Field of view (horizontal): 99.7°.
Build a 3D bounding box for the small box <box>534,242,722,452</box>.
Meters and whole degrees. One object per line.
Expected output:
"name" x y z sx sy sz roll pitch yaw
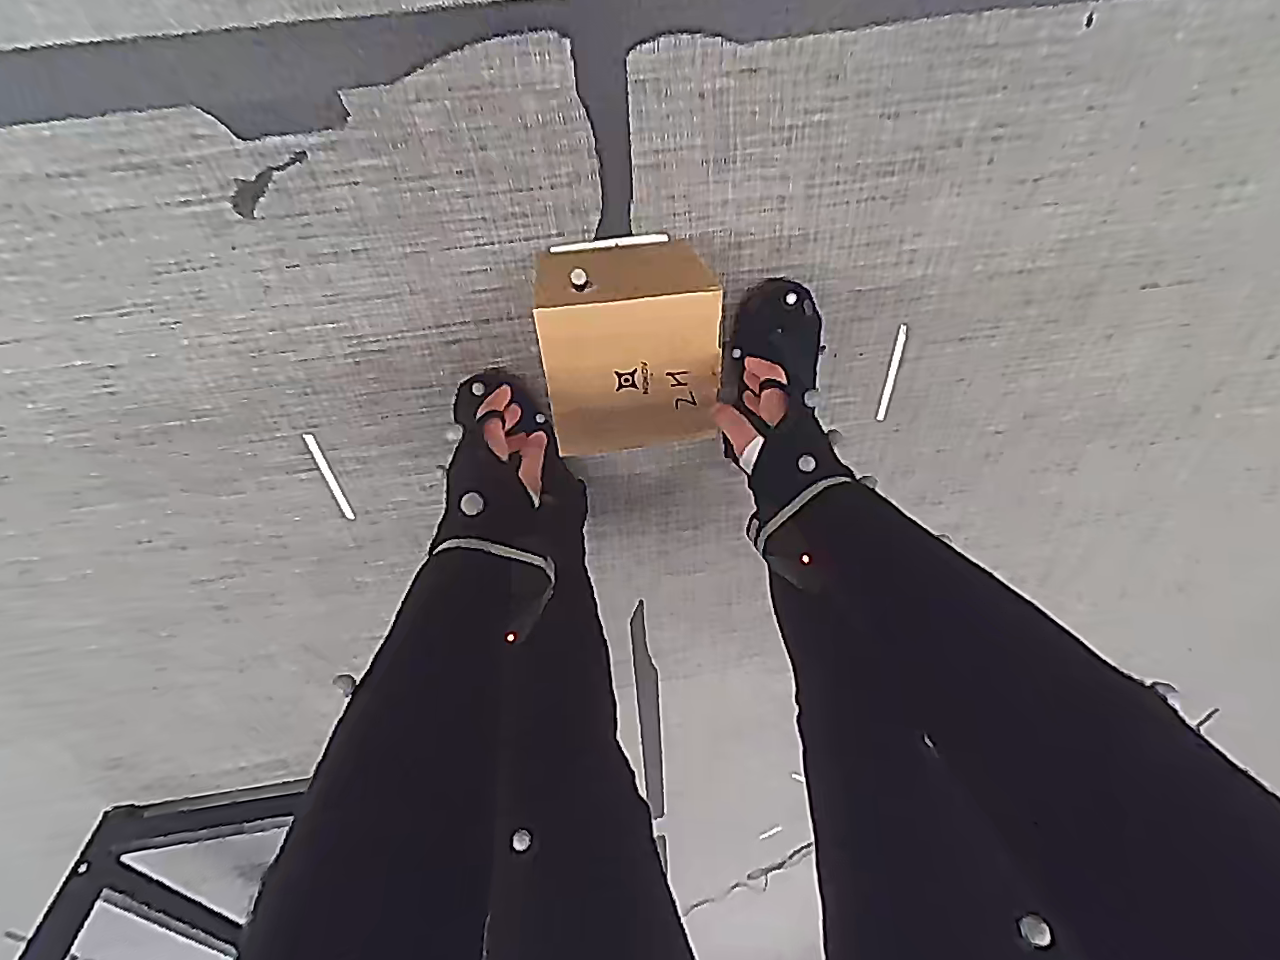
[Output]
"small box" -0.018 -0.153 0.602 0.179 0.176 0.168 -7 130 -5
